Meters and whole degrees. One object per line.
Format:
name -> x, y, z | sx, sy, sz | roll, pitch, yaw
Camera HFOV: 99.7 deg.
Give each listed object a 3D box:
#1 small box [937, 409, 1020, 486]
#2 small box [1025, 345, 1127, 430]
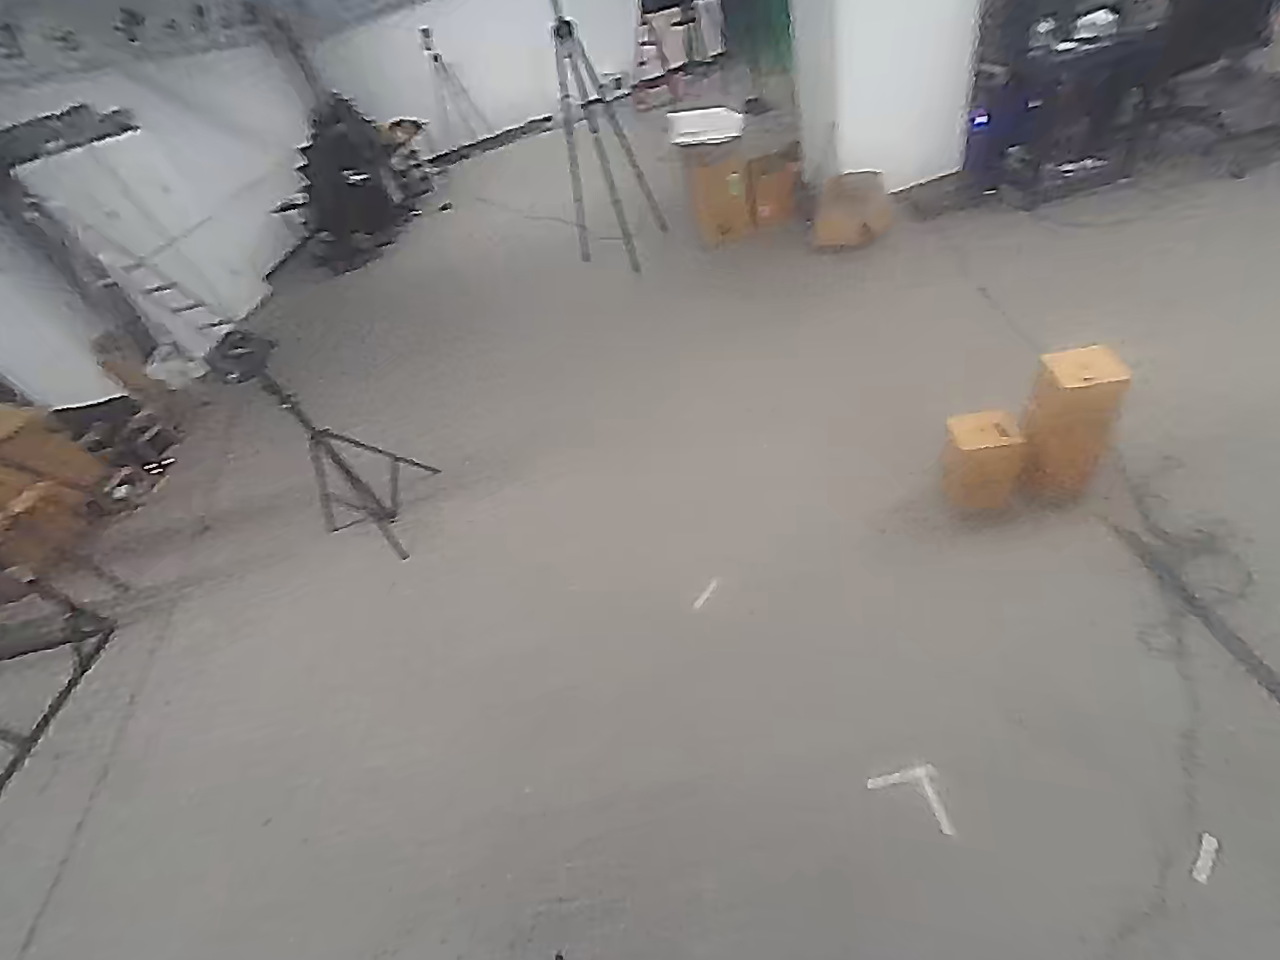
small box -> 1.091, -0.103, 1.758 | 0.179, 0.176, 0.168 | -10, 43, 14
small box -> 1.286, -0.273, 1.612 | 0.168, 0.176, 0.179 | -9, 42, 14
